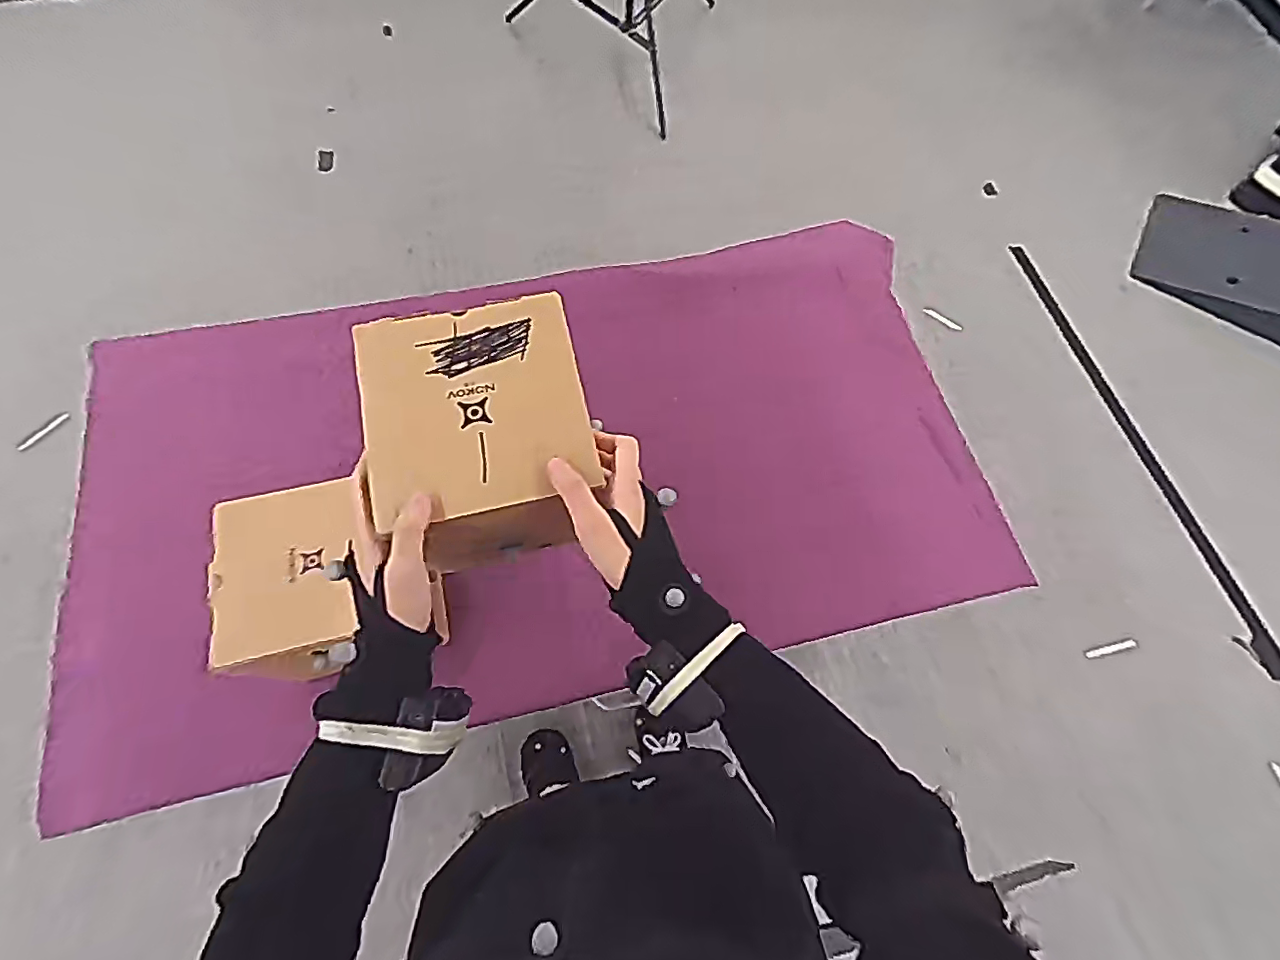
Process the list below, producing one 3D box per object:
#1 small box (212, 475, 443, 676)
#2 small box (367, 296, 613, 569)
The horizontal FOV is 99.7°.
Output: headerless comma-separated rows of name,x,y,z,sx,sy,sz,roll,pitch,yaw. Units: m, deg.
small box,-0.332,0.114,0.607,0.179,0.176,0.168,-13,69,-9
small box,-0.124,-0.032,0.491,0.168,0.176,0.179,-13,73,-7
